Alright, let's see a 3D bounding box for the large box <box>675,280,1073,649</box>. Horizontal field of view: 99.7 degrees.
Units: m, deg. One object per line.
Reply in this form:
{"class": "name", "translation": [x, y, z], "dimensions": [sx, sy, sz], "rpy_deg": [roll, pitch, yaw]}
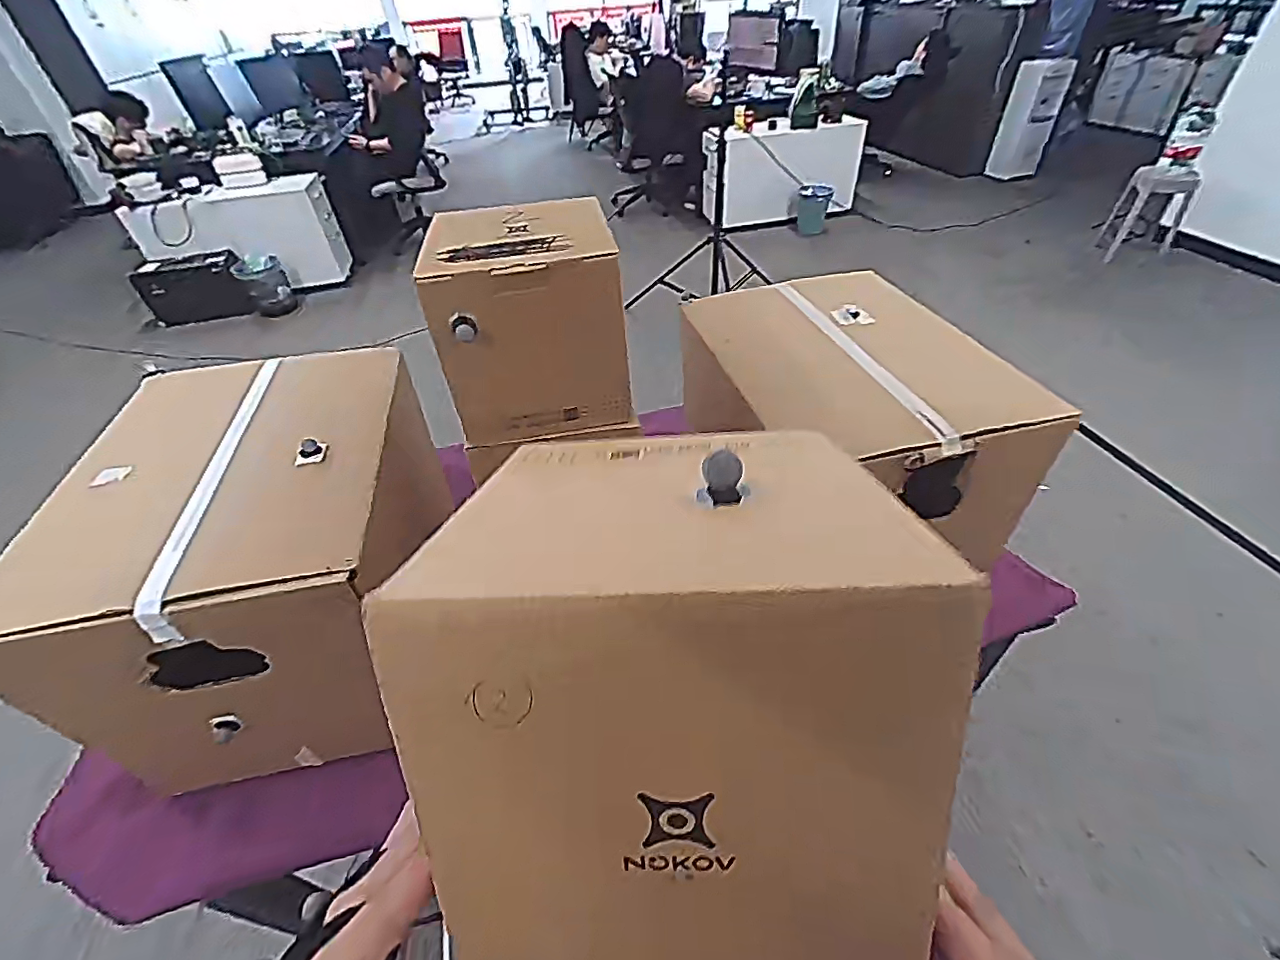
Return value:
{"class": "large box", "translation": [0.258, -0.043, 0.767], "dimensions": [0.320, 0.320, 0.408], "rpy_deg": [-11, 41, -8]}
